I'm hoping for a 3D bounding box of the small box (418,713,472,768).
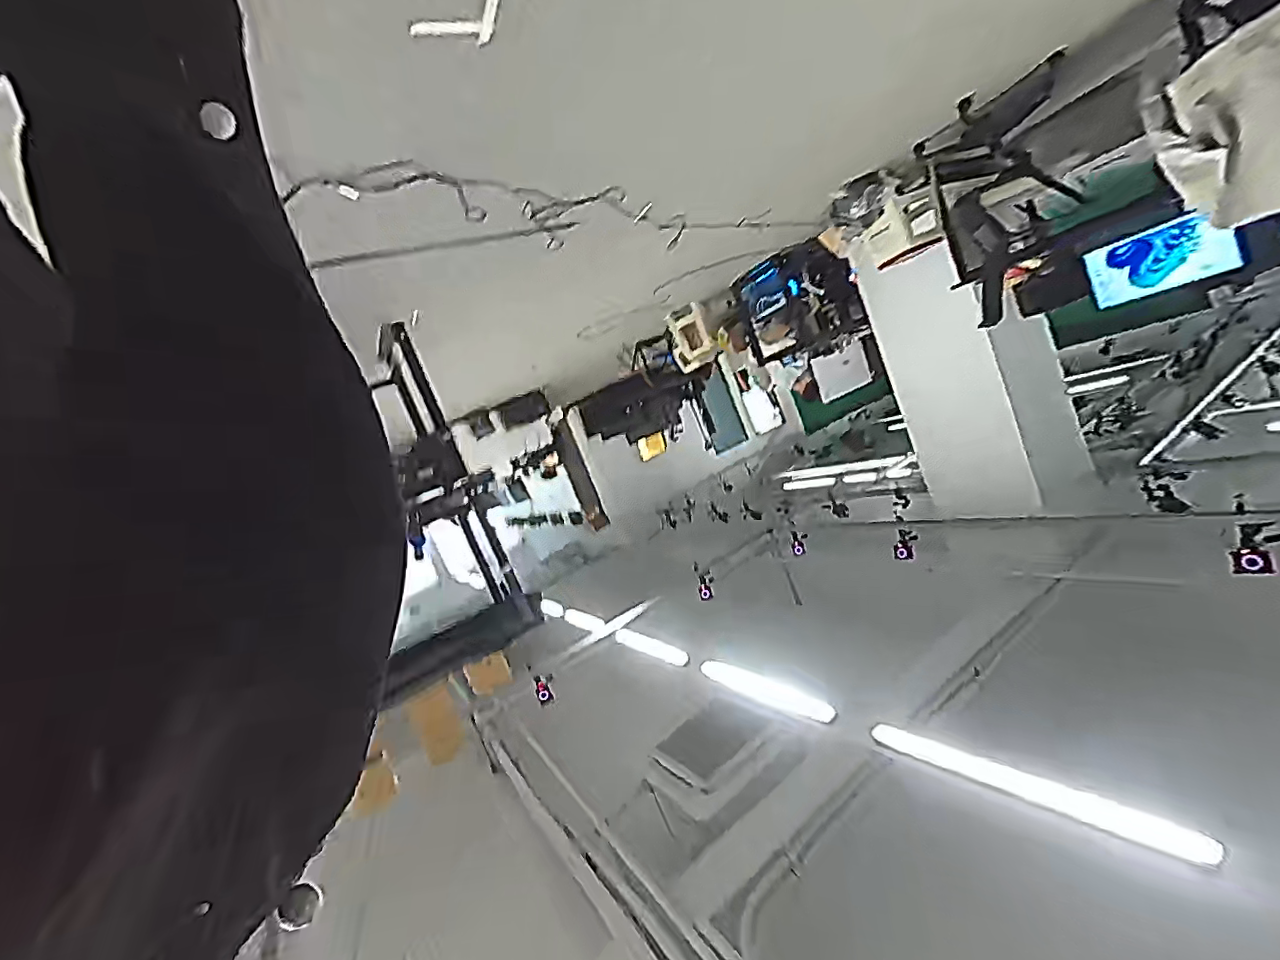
[{"bbox_3d":[-0.857,1.104,2.350,0.168,0.176,0.179,-25,-172,-29],"label":"small box"}]

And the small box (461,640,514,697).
[{"bbox_3d":[-0.698,0.846,2.454,0.168,0.176,0.179,-24,-172,-28],"label":"small box"}]

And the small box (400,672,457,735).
[{"bbox_3d":[-0.915,0.952,2.327,0.168,0.176,0.179,-27,-171,-29],"label":"small box"}]

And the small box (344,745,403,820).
[{"bbox_3d":[-1.078,1.212,2.181,0.168,0.176,0.179,-24,-172,-26],"label":"small box"}]

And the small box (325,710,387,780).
[{"bbox_3d":[-1.155,1.066,2.189,0.168,0.176,0.179,-27,-171,-32],"label":"small box"}]
